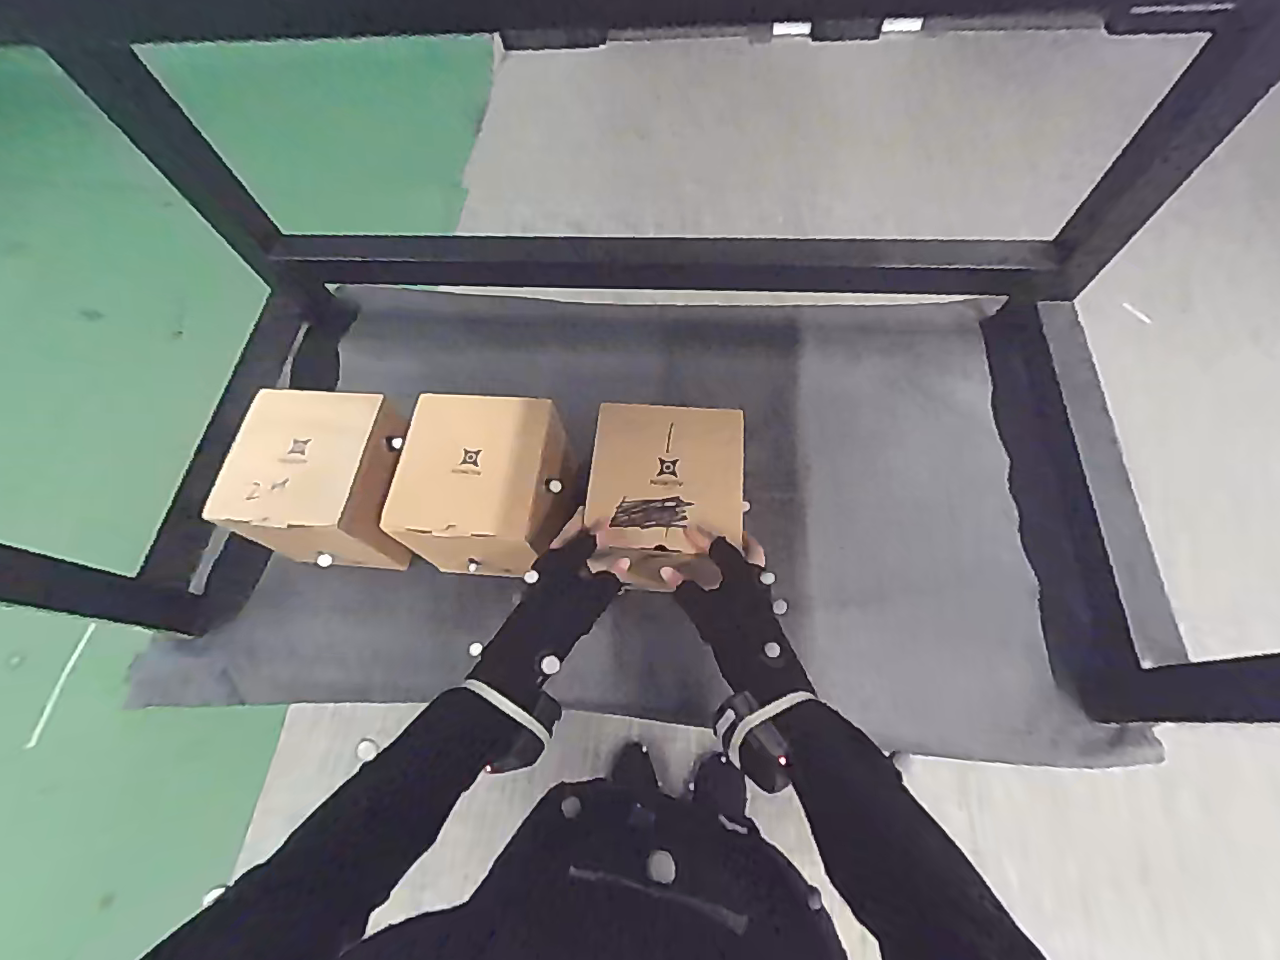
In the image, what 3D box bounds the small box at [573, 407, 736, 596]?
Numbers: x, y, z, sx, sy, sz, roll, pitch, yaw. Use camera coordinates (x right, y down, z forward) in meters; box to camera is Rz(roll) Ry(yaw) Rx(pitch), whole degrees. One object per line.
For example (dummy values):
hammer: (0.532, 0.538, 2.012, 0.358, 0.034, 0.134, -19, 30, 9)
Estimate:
small box: (0.024, 0.033, 0.652, 0.168, 0.176, 0.179, 4, 63, 4)
